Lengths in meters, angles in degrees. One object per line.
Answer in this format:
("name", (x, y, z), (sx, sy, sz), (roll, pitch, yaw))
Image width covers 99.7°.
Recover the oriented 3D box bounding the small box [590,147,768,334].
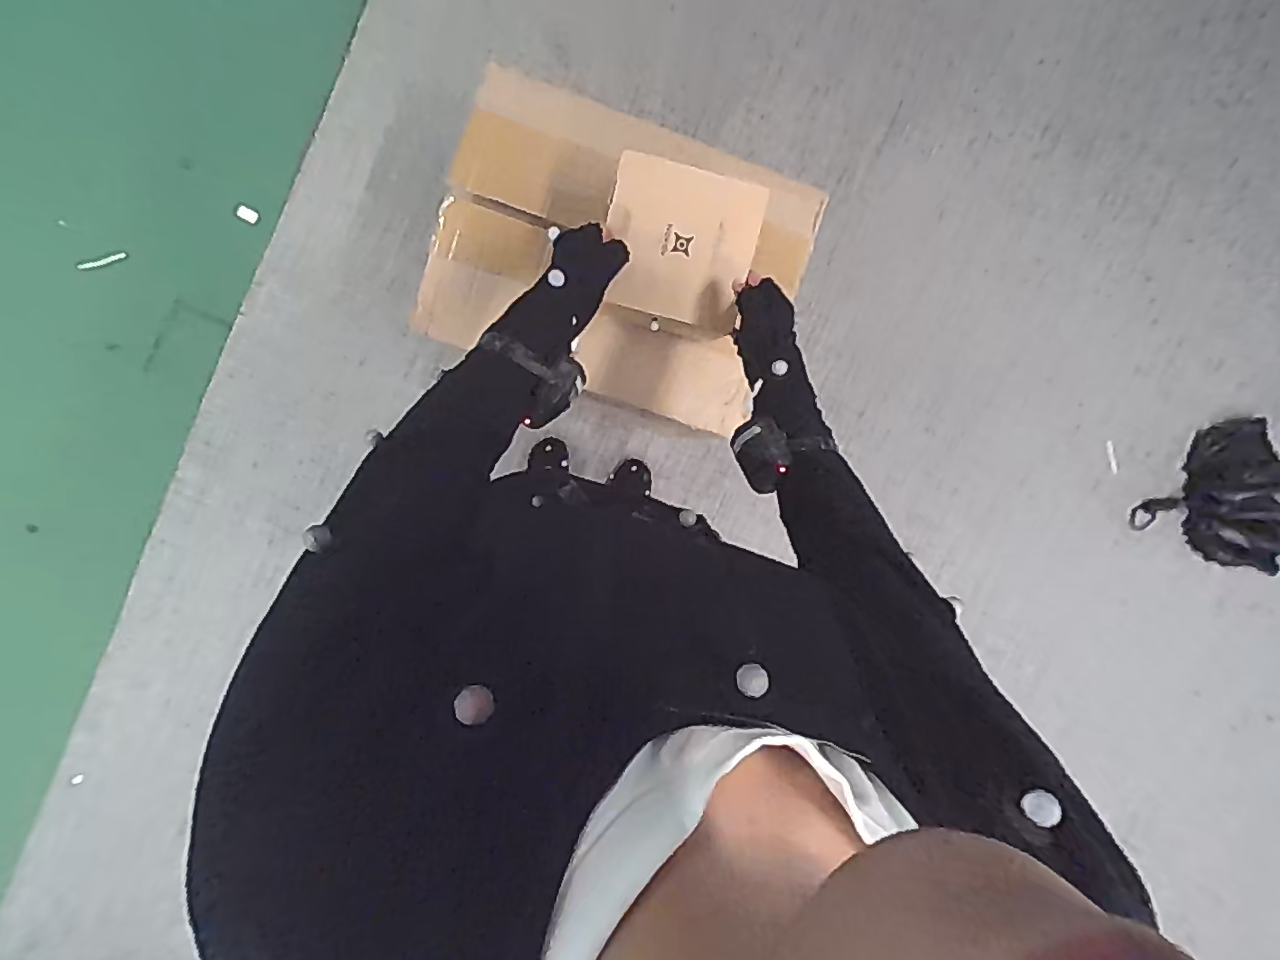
("small box", (0.041, -0.290, 0.697), (0.179, 0.176, 0.168), (12, 101, -5))
